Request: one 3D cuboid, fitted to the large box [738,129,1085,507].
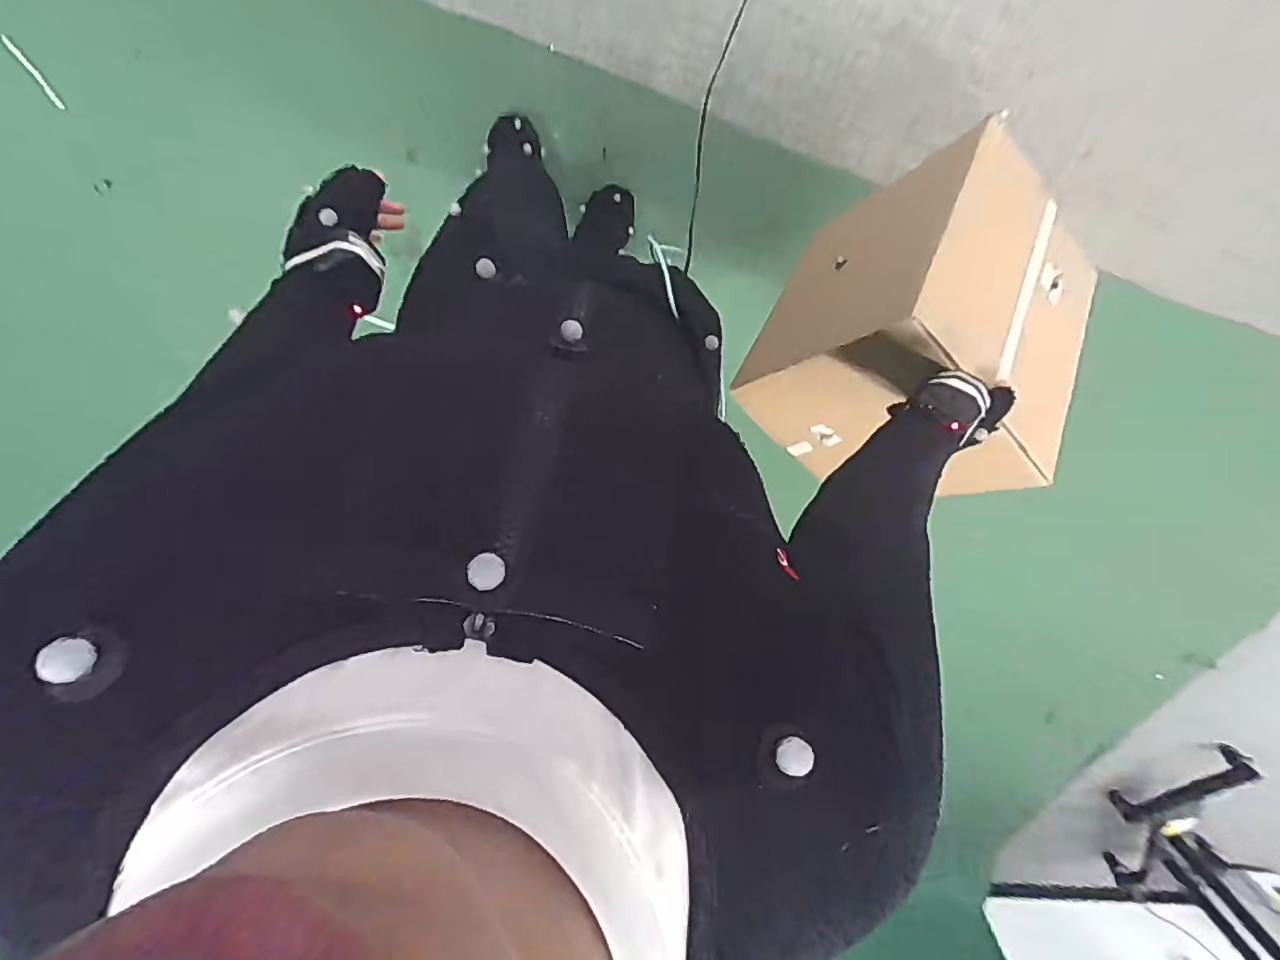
[{"bbox_3d":[0.418,-0.216,0.842,0.320,0.320,0.408,39,65,-20],"label":"large box"}]
